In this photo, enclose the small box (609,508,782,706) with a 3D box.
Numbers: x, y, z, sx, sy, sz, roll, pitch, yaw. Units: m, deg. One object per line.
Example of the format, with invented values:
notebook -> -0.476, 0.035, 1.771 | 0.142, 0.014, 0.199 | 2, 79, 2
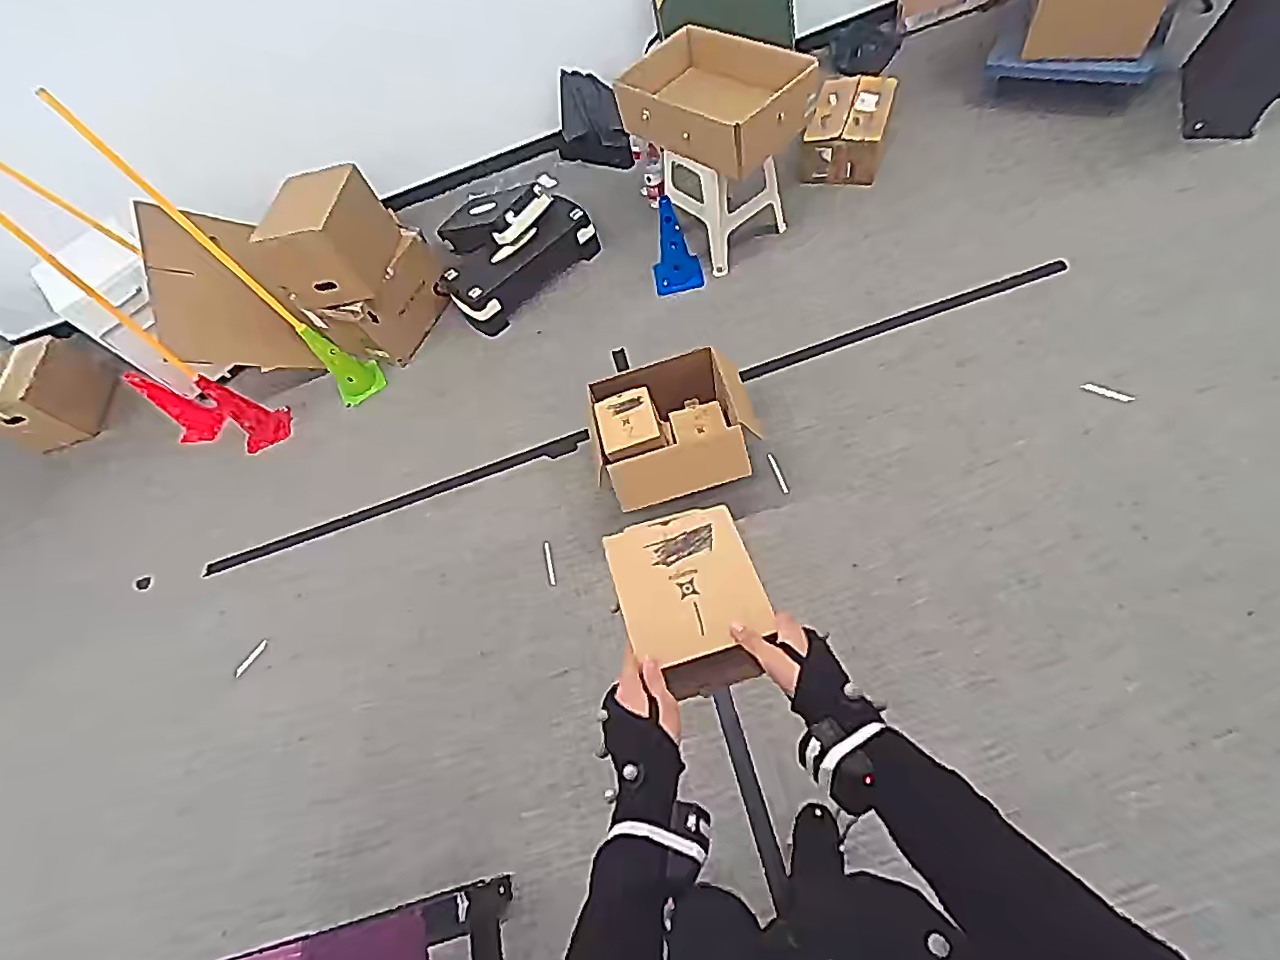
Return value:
small box -> 0.063, 0.168, 0.705 | 0.168, 0.176, 0.179 | -15, 55, -6
